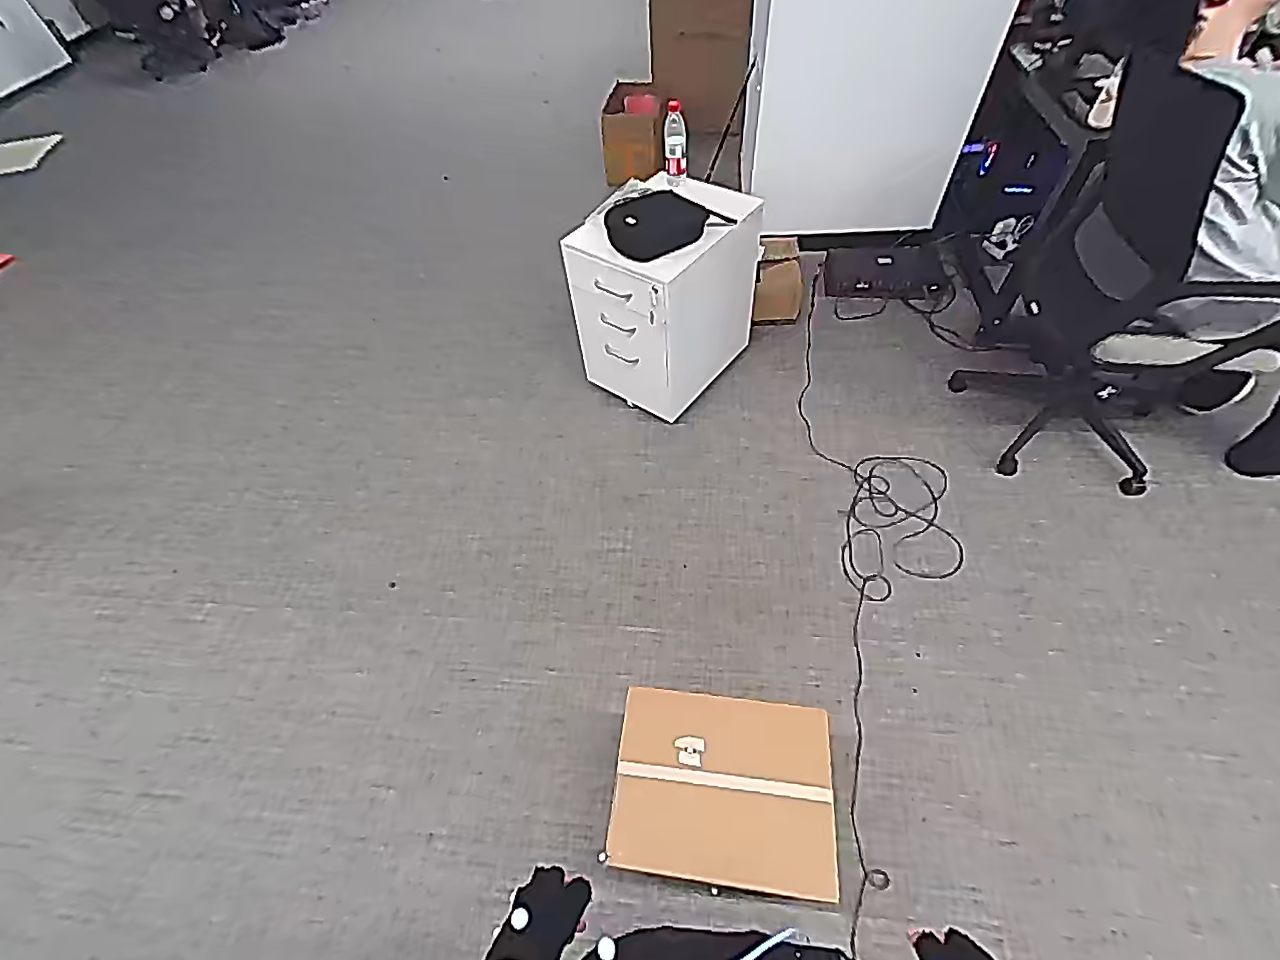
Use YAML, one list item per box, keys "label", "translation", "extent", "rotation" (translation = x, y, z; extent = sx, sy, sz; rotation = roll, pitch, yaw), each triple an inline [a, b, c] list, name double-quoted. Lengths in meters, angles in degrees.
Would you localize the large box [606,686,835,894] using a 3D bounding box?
- label: "large box"
  translation: [0.166, 0.654, 1.147]
  extent: [0.408, 0.320, 0.320]
  rotation: [4, 54, 8]
